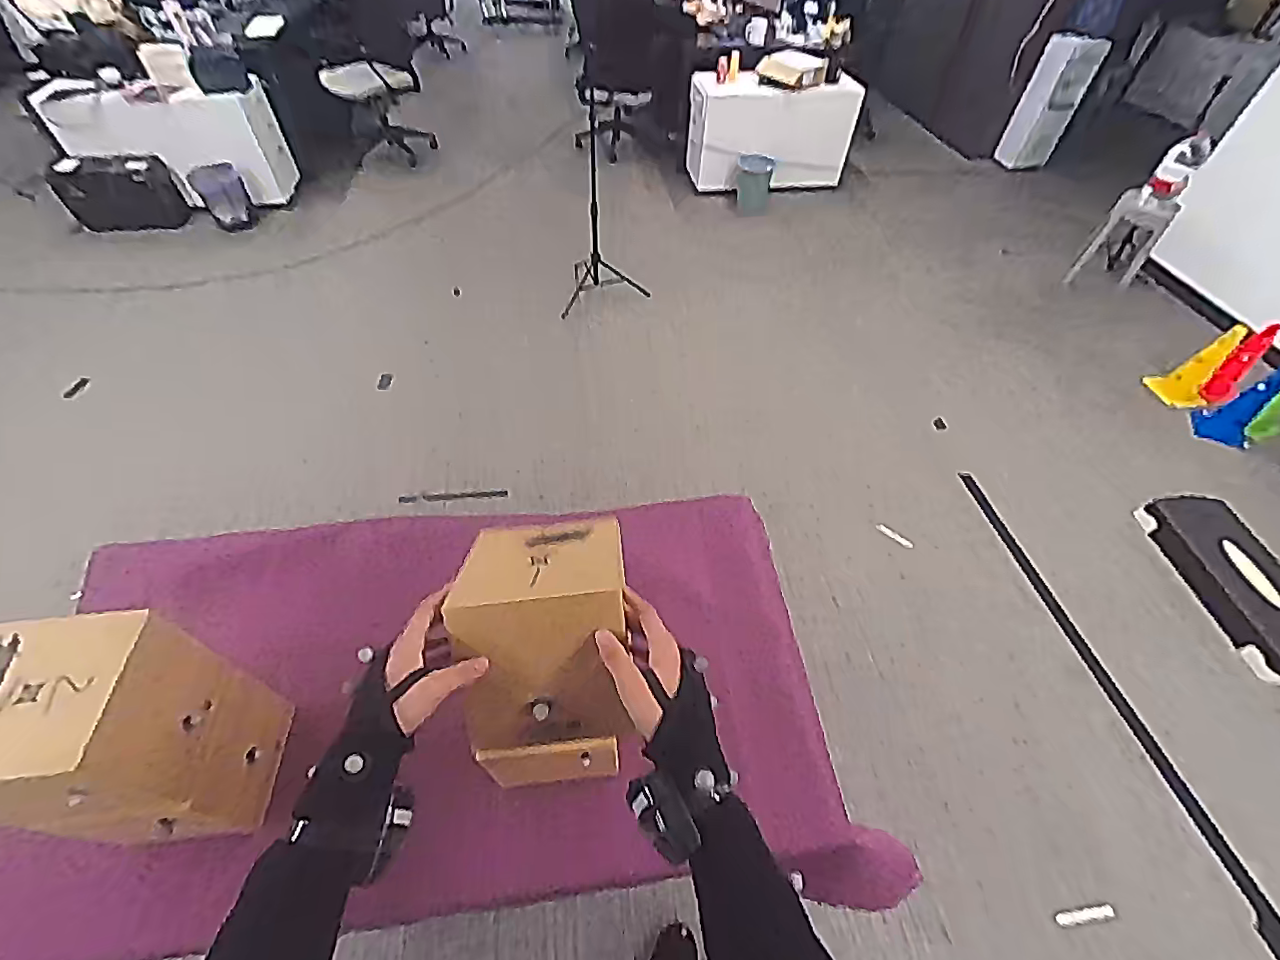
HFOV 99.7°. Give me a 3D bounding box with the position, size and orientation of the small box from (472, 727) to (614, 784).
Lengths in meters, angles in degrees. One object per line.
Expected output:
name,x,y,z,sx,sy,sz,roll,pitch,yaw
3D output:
small box,-0.130,0.326,0.780,0.179,0.176,0.168,-4,51,-6

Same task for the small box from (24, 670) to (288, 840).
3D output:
small box,-0.614,0.368,0.722,0.179,0.176,0.168,-3,51,-5

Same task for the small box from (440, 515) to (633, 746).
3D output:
small box,-0.097,0.154,0.590,0.168,0.176,0.179,-6,22,-1
